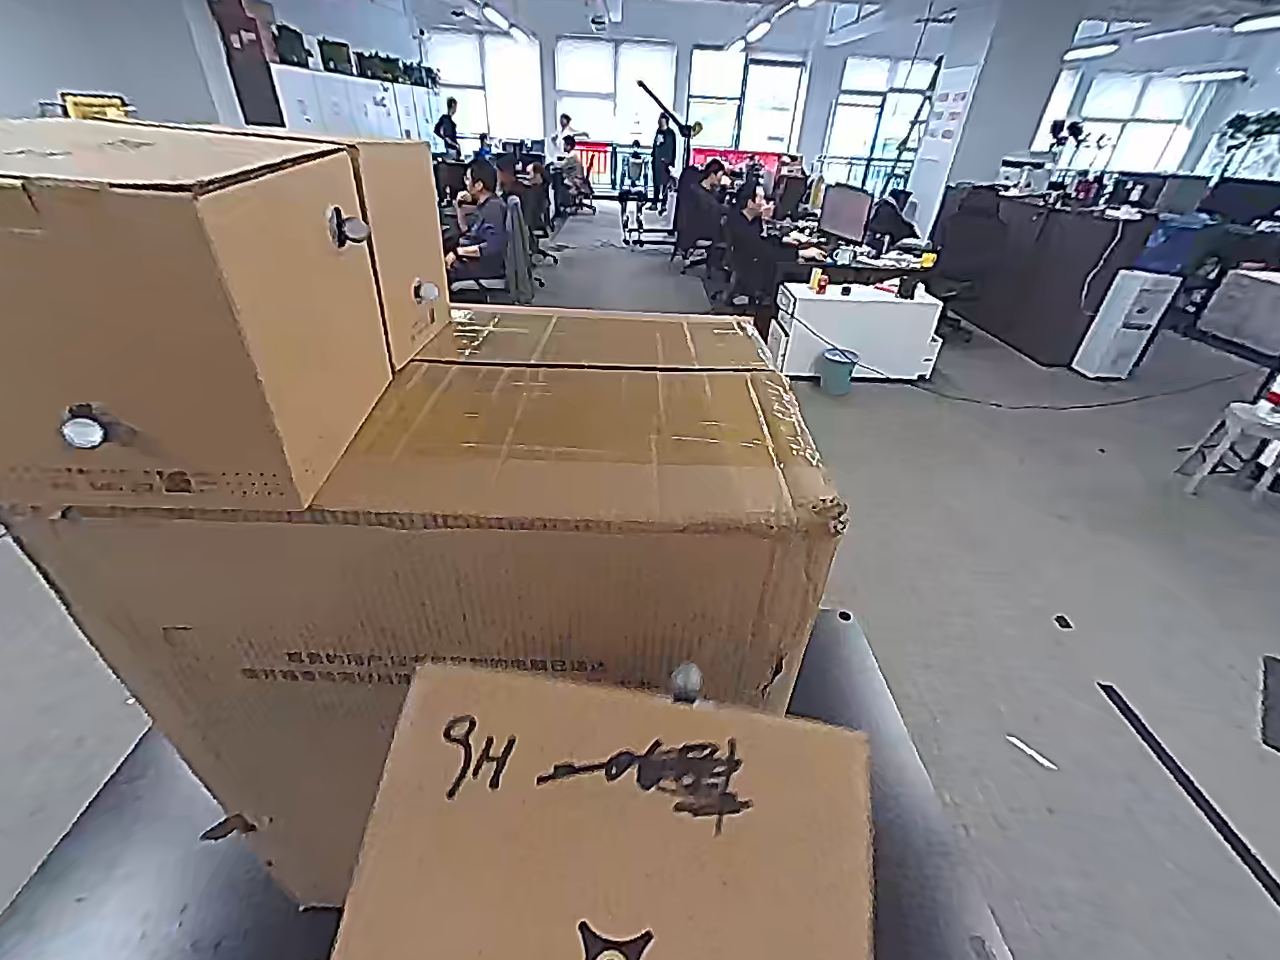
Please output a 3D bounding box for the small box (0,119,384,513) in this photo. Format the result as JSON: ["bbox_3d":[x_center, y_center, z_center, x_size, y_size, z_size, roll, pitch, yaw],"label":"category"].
[{"bbox_3d":[-0.269,-0.101,0.321,0.168,0.176,0.179,1,37,-6],"label":"small box"}]

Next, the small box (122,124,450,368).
[{"bbox_3d":[-0.283,-0.202,0.472,0.179,0.176,0.168,3,32,-3],"label":"small box"}]
